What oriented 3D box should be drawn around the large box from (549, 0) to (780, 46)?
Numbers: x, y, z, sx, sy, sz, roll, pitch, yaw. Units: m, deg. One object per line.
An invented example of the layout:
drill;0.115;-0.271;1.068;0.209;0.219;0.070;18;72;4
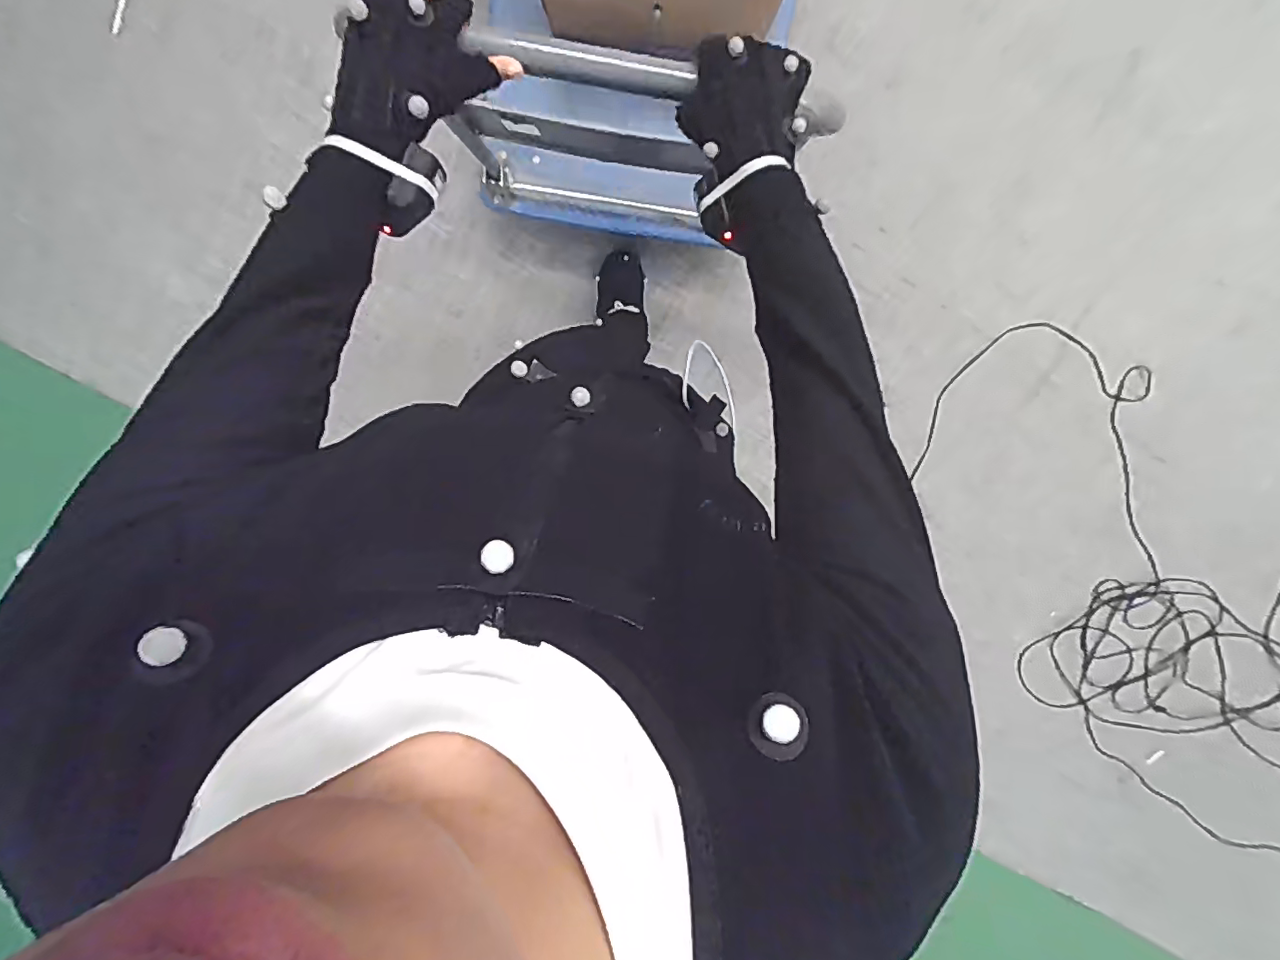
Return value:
large box;0.048;-0.958;0.869;0.408;0.320;0.320;5;107;-1
